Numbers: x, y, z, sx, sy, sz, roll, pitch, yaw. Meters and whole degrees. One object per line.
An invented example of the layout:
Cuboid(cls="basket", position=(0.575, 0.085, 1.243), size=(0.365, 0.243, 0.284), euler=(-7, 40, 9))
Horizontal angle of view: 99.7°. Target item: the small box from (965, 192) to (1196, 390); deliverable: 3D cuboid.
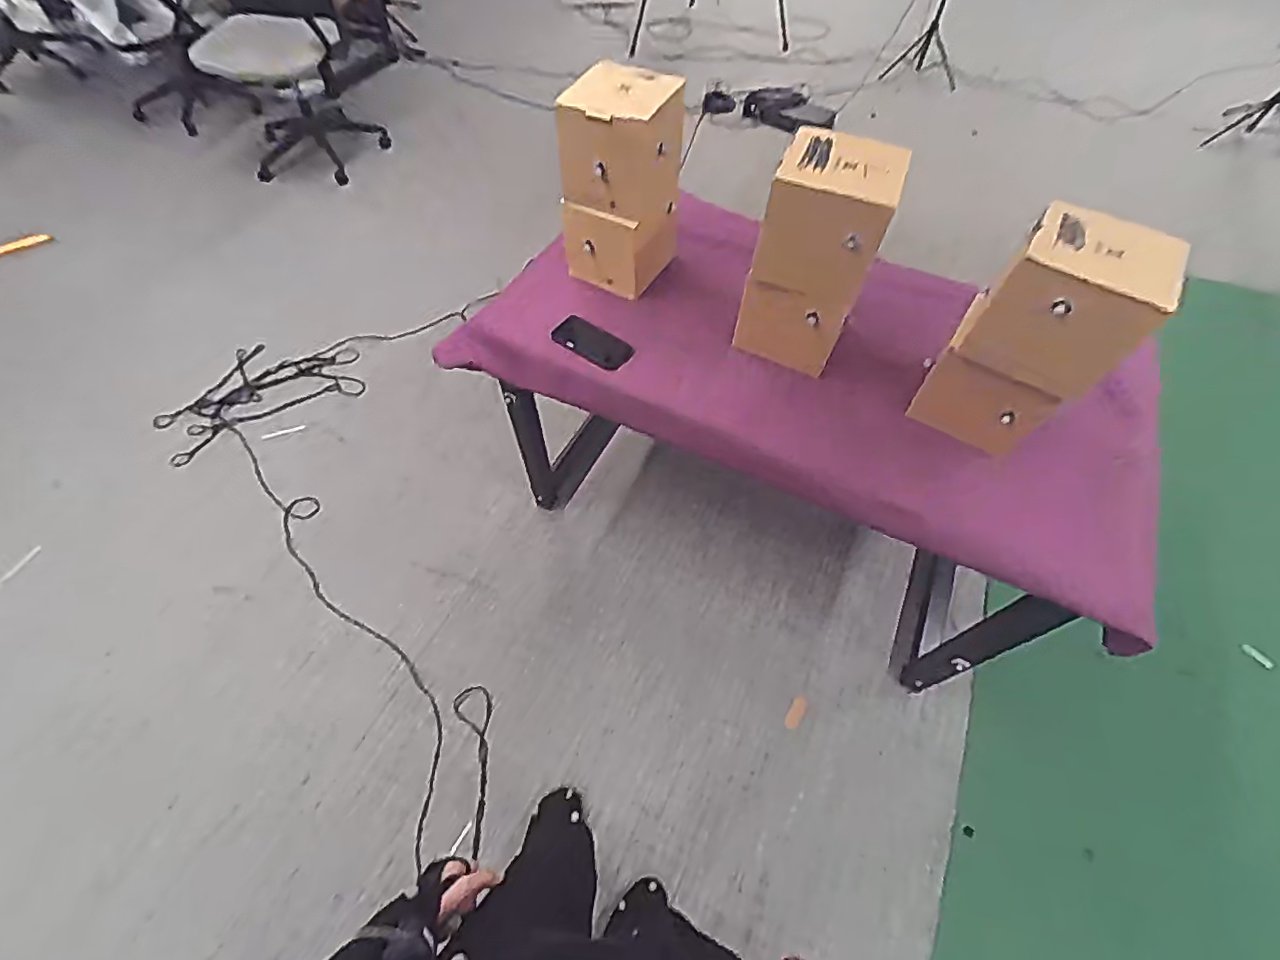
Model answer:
Cuboid(cls="small box", position=(0.589, -0.254, 0.743), size=(0.179, 0.176, 0.168), euler=(31, 62, 17))

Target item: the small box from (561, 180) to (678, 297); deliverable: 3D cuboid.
Cuboid(cls="small box", position=(-0.035, -0.503, 1.096), size=(0.168, 0.176, 0.179), euler=(25, 61, 15))

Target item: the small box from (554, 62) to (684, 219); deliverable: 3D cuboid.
Cuboid(cls="small box", position=(-0.031, -0.599, 0.962), size=(0.168, 0.176, 0.179), euler=(21, 60, 12))

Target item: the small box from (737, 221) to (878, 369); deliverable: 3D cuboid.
Cuboid(cls="small box", position=(0.297, -0.330, 0.983), size=(0.179, 0.176, 0.168), euler=(25, 60, 15))

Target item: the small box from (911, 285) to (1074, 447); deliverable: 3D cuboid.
Cuboid(cls="small box", position=(0.588, -0.180, 0.890), size=(0.179, 0.176, 0.168), euler=(30, 62, 19))
